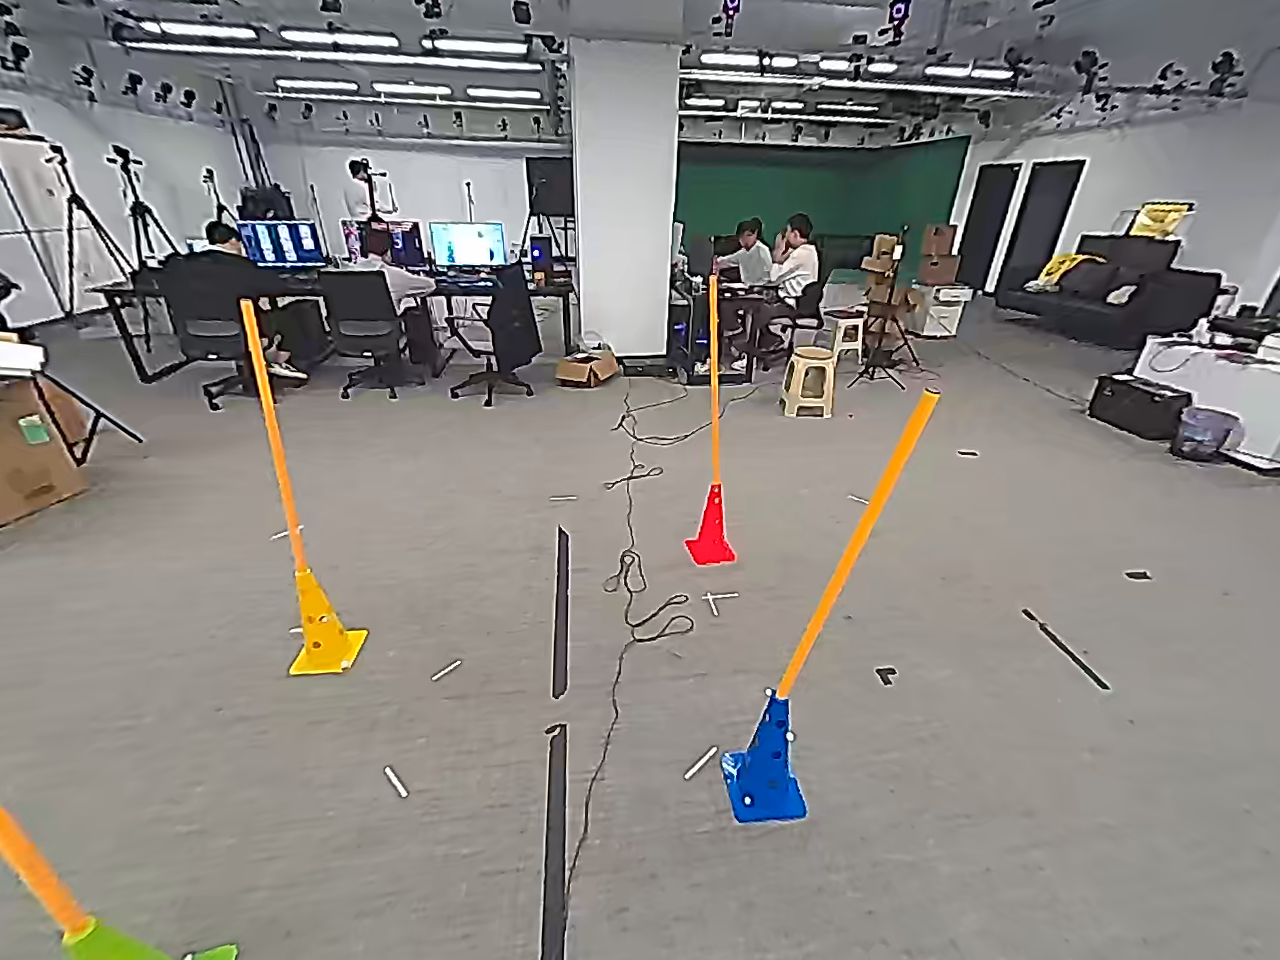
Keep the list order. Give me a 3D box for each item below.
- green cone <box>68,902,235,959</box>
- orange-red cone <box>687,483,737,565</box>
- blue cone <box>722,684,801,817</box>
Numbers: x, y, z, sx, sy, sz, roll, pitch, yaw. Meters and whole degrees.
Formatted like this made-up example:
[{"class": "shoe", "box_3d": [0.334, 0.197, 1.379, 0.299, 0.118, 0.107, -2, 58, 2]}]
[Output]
[{"class": "green cone", "box_3d": [-0.931, 0.894, 0.981, 0.200, 0.368, 0.202, -7, 26, -16]}, {"class": "orange-red cone", "box_3d": [0.331, 0.178, 2.416, 0.199, 0.360, 0.198, -6, 28, -10]}, {"class": "blue cone", "box_3d": [0.341, 0.699, 1.436, 0.193, 0.380, 0.192, -1, 27, -4]}]
